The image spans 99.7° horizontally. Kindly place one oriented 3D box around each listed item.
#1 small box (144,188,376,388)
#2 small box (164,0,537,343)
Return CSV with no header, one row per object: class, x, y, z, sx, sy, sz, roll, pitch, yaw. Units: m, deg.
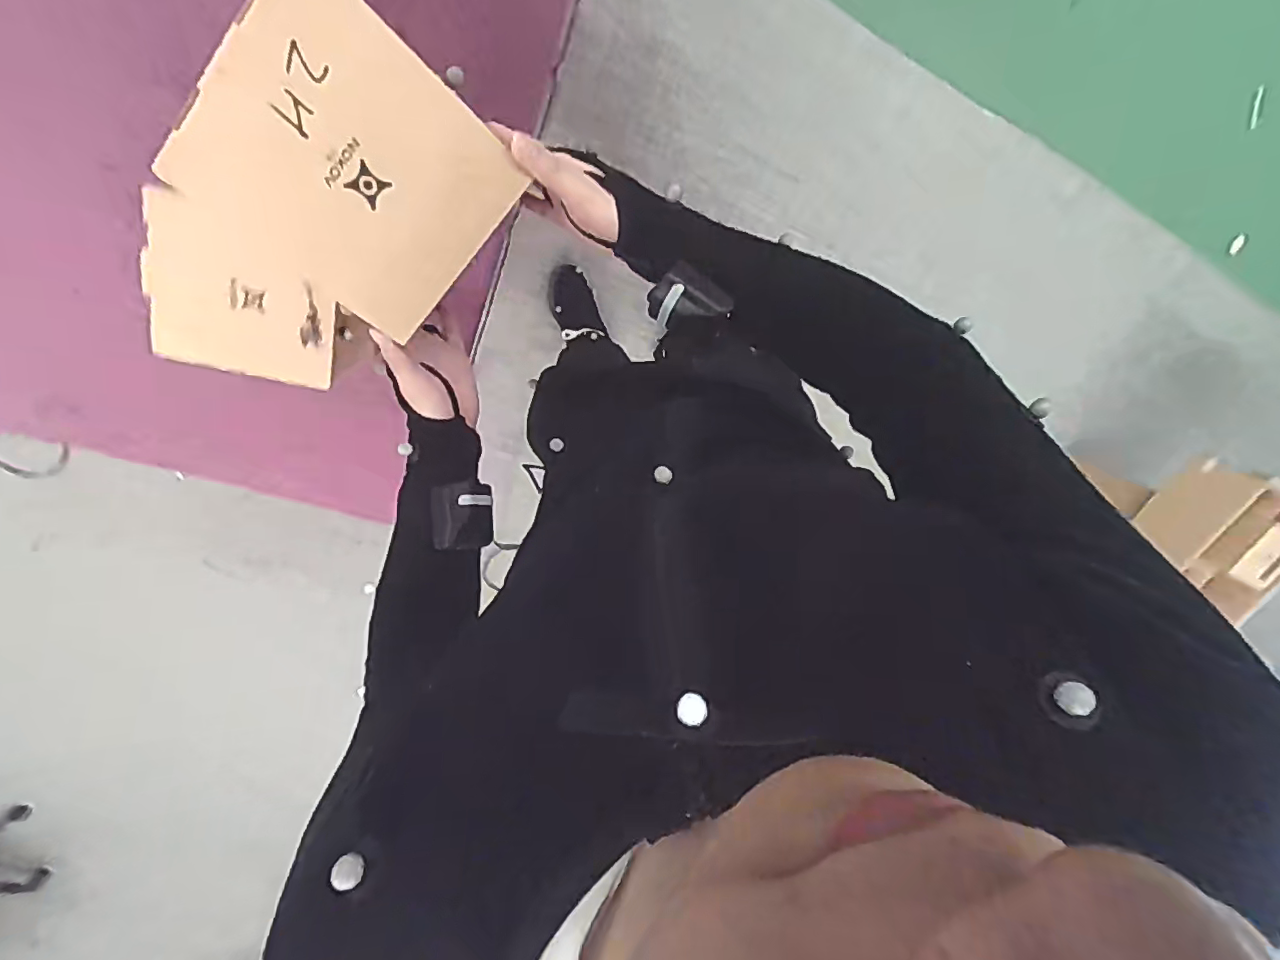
small box,-0.426,-0.224,0.638,0.179,0.176,0.168,11,113,-14
small box,-0.207,-0.248,0.434,0.168,0.176,0.179,-44,122,12
